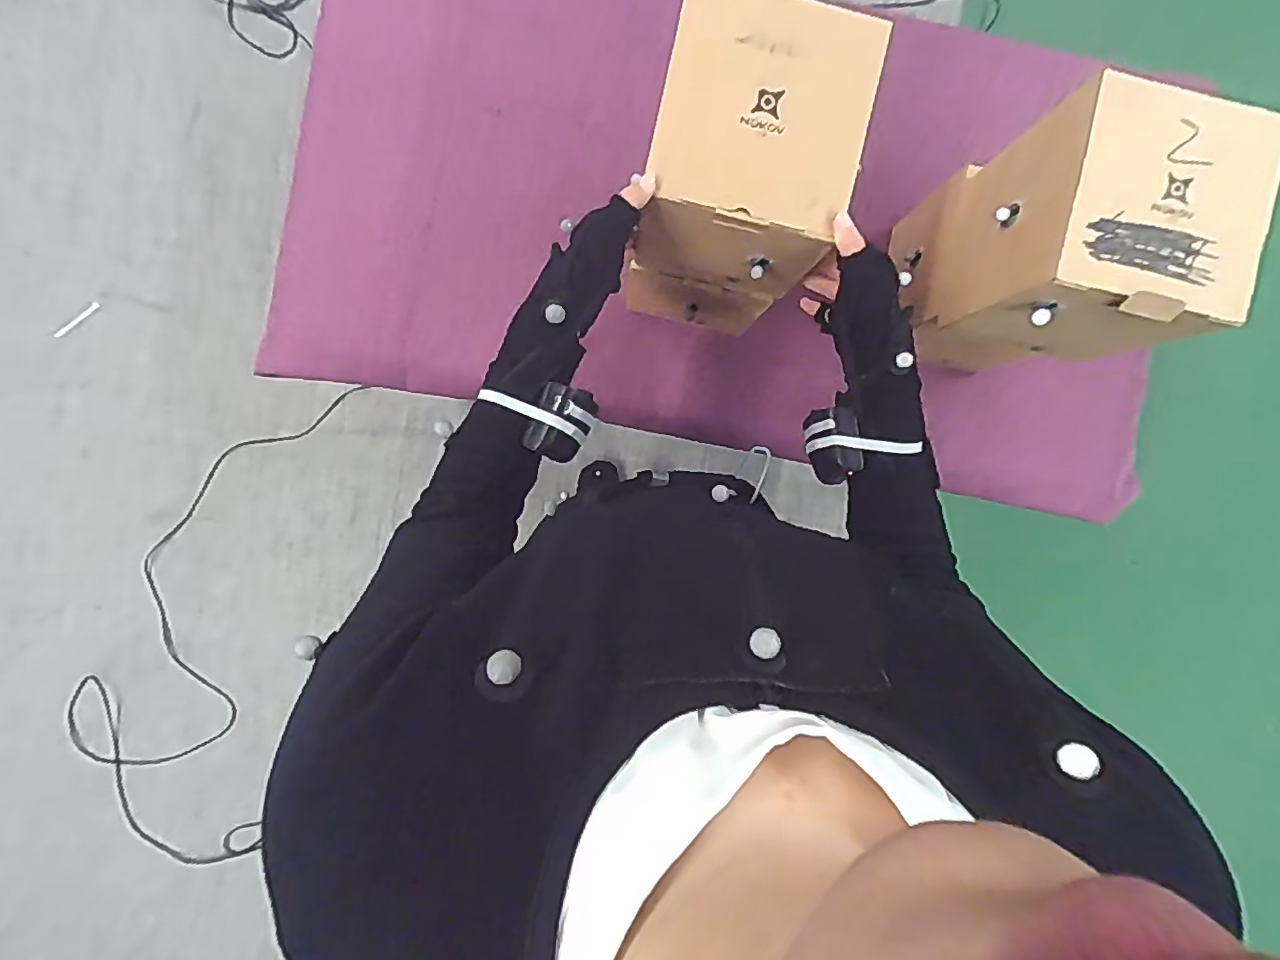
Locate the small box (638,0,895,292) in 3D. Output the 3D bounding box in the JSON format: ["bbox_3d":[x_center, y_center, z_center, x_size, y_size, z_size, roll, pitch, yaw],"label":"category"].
[{"bbox_3d":[0.096,-0.293,0.498,0.168,0.176,0.179,13,93,-4],"label":"small box"}]

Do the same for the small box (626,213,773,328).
[{"bbox_3d":[0.082,-0.300,0.660,0.168,0.176,0.179,13,93,-3],"label":"small box"}]

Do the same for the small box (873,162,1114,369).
[{"bbox_3d":[0.419,-0.248,0.675,0.168,0.176,0.179,14,93,-5],"label":"small box"}]
